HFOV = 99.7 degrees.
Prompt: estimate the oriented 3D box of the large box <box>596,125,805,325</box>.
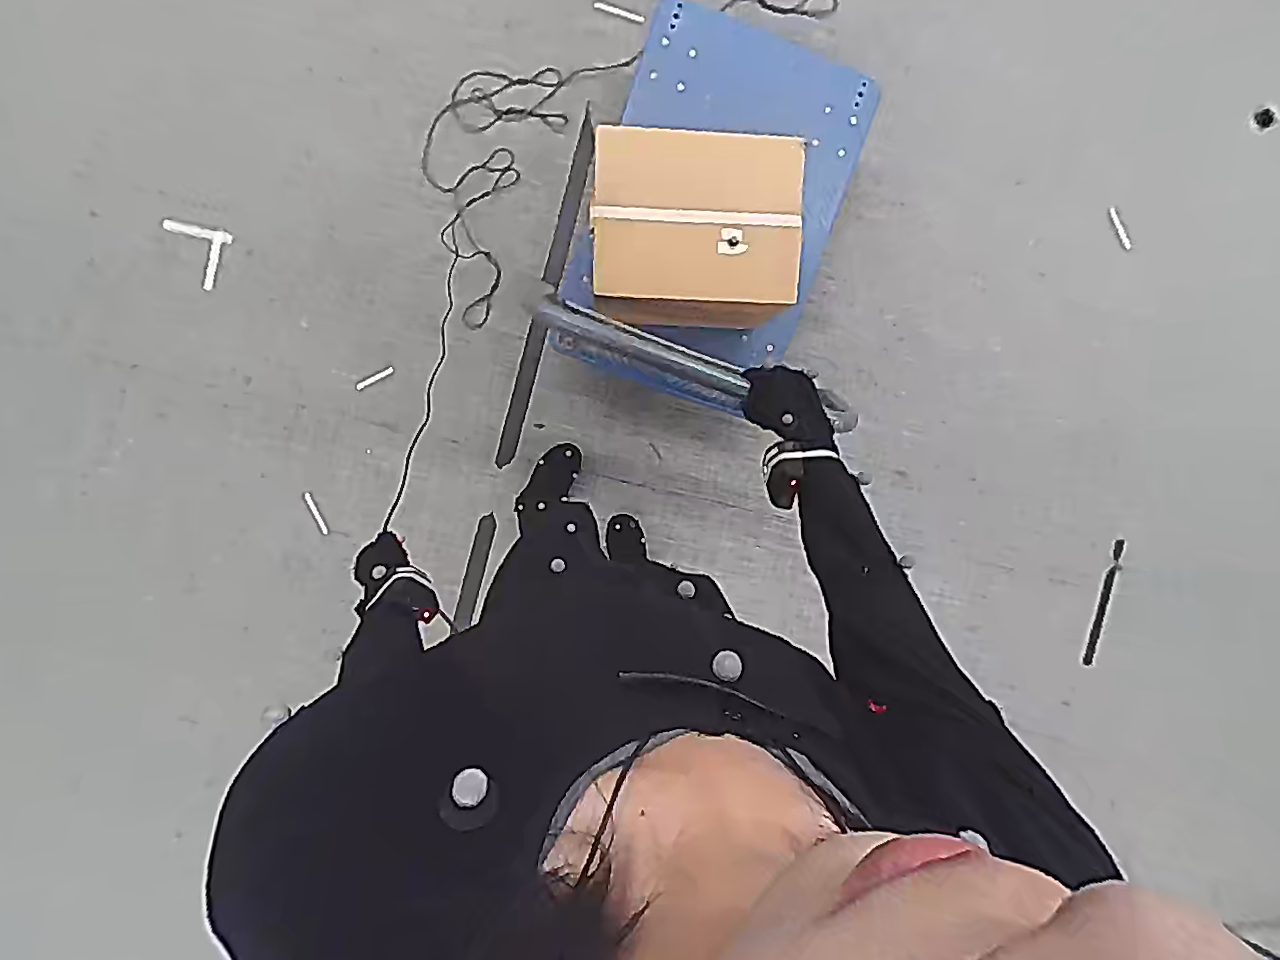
[{"bbox_3d":[0.107,-0.529,1.191,0.408,0.320,0.320,1,97,-4],"label":"large box"}]
